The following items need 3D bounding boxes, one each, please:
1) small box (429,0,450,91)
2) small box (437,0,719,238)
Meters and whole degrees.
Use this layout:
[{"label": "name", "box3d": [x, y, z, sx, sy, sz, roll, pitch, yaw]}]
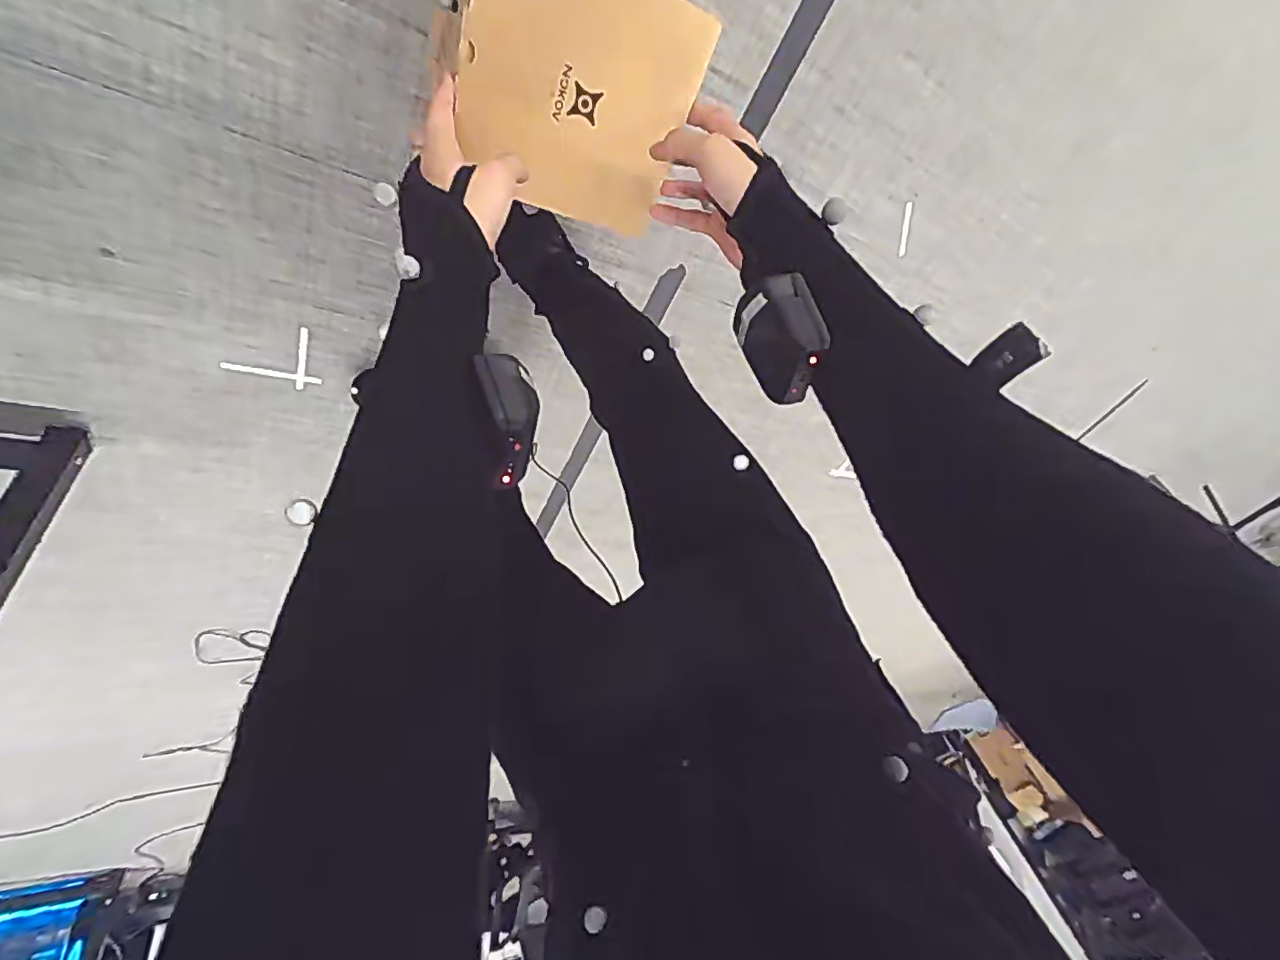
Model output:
[{"label": "small box", "box3d": [-0.164, -0.568, 0.674, 0.168, 0.176, 0.179, 6, 132, -28]}, {"label": "small box", "box3d": [-0.068, -0.338, 0.457, 0.179, 0.176, 0.168, 5, 132, -26]}]
